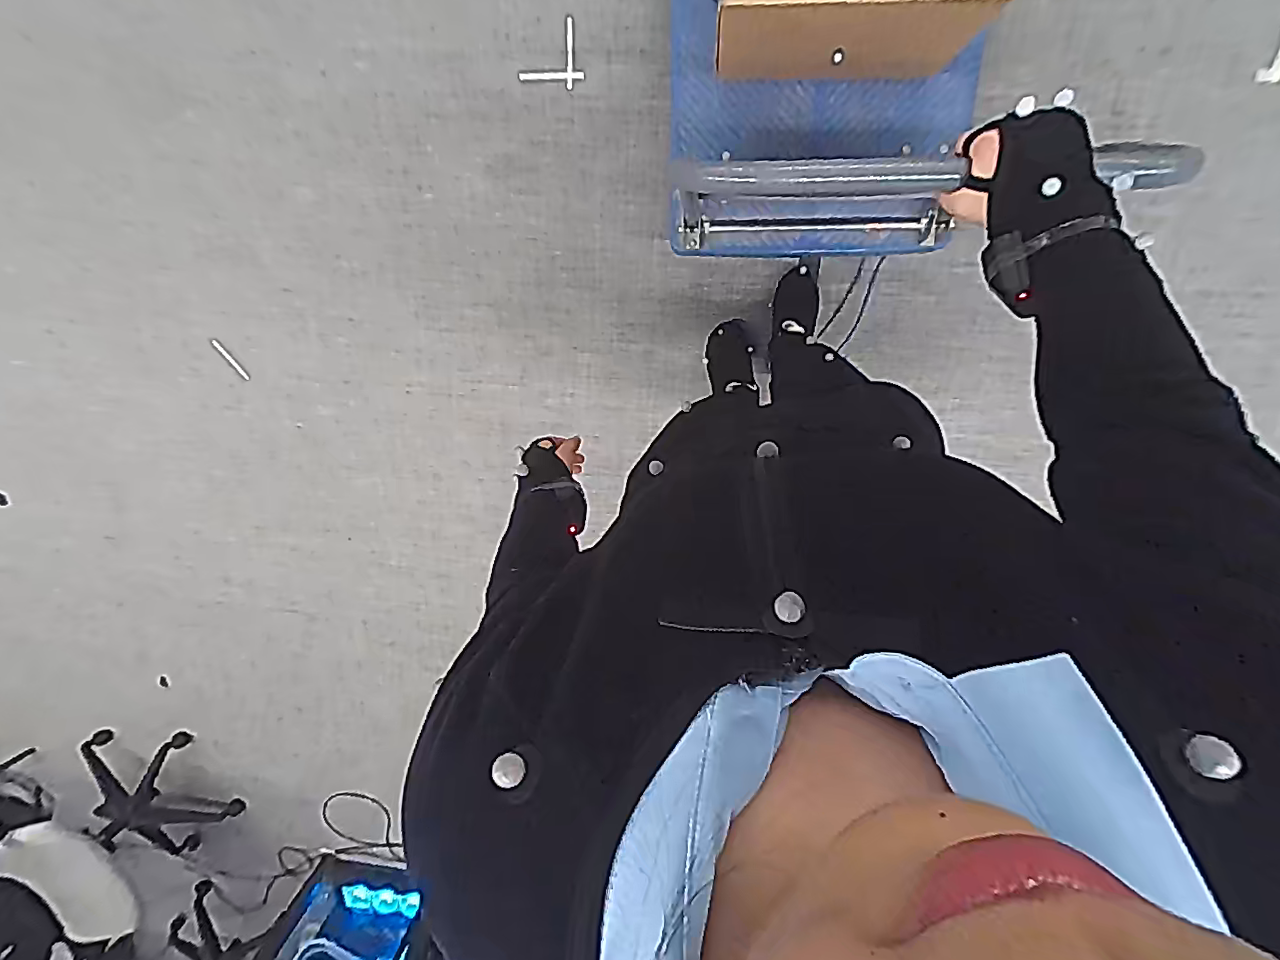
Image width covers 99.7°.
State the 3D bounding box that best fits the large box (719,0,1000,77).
[{"bbox_3d":[0.336,-0.868,0.841,0.408,0.320,0.320,4,109,7],"label":"large box"}]
